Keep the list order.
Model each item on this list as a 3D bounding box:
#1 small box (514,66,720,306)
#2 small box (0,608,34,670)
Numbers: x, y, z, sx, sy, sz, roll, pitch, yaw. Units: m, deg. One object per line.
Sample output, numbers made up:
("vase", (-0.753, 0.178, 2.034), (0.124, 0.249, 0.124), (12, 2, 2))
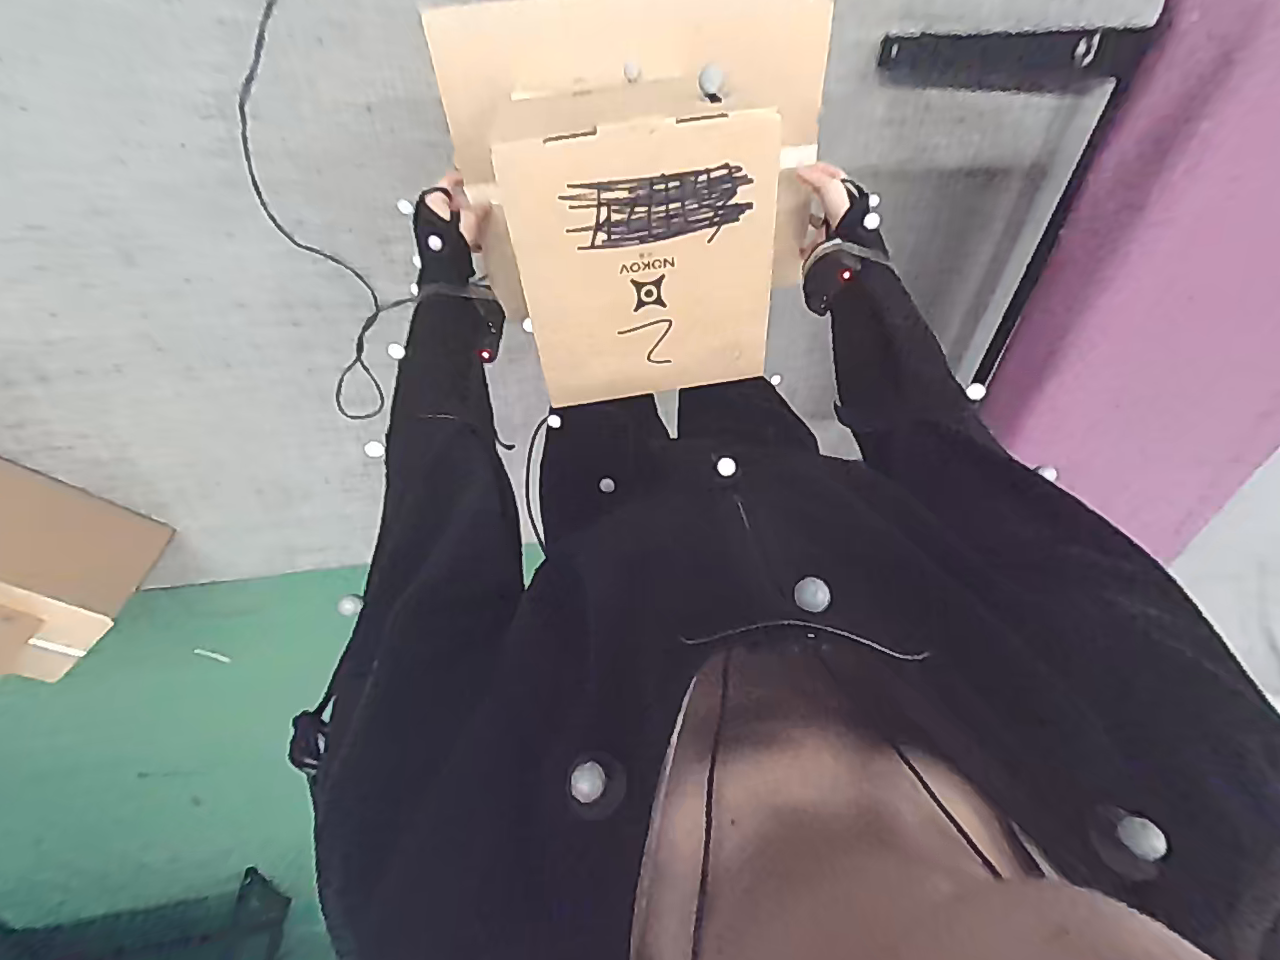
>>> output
("small box", (-0.028, -0.293, 0.530), (0.168, 0.176, 0.179), (-6, 132, -5))
("small box", (-1.418, 0.363, 1.099), (0.179, 0.176, 0.168), (-35, 127, 13))
